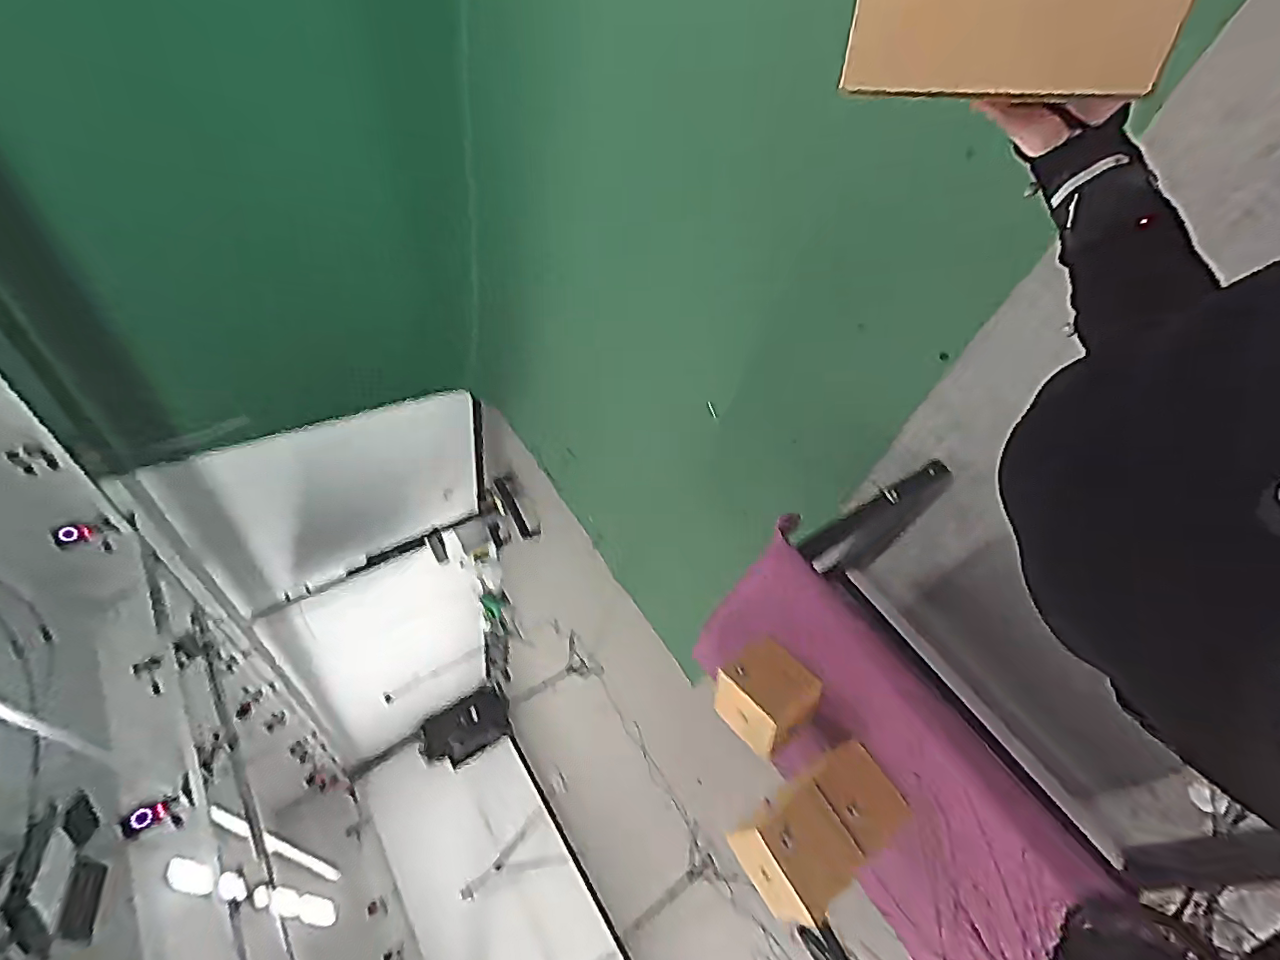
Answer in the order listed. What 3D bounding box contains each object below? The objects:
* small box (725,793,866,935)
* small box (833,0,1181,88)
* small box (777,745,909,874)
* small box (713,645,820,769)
[{"bbox_3d":[0.312,0.765,1.095,0.179,0.176,0.168,53,146,22],"label":"small box"},{"bbox_3d":[0.236,-0.356,0.343,0.179,0.168,0.176,13,129,16],"label":"small box"},{"bbox_3d":[0.444,0.721,1.184,0.179,0.176,0.168,54,146,23],"label":"small box"},{"bbox_3d":[0.300,0.531,1.287,0.179,0.176,0.168,36,137,41],"label":"small box"}]
